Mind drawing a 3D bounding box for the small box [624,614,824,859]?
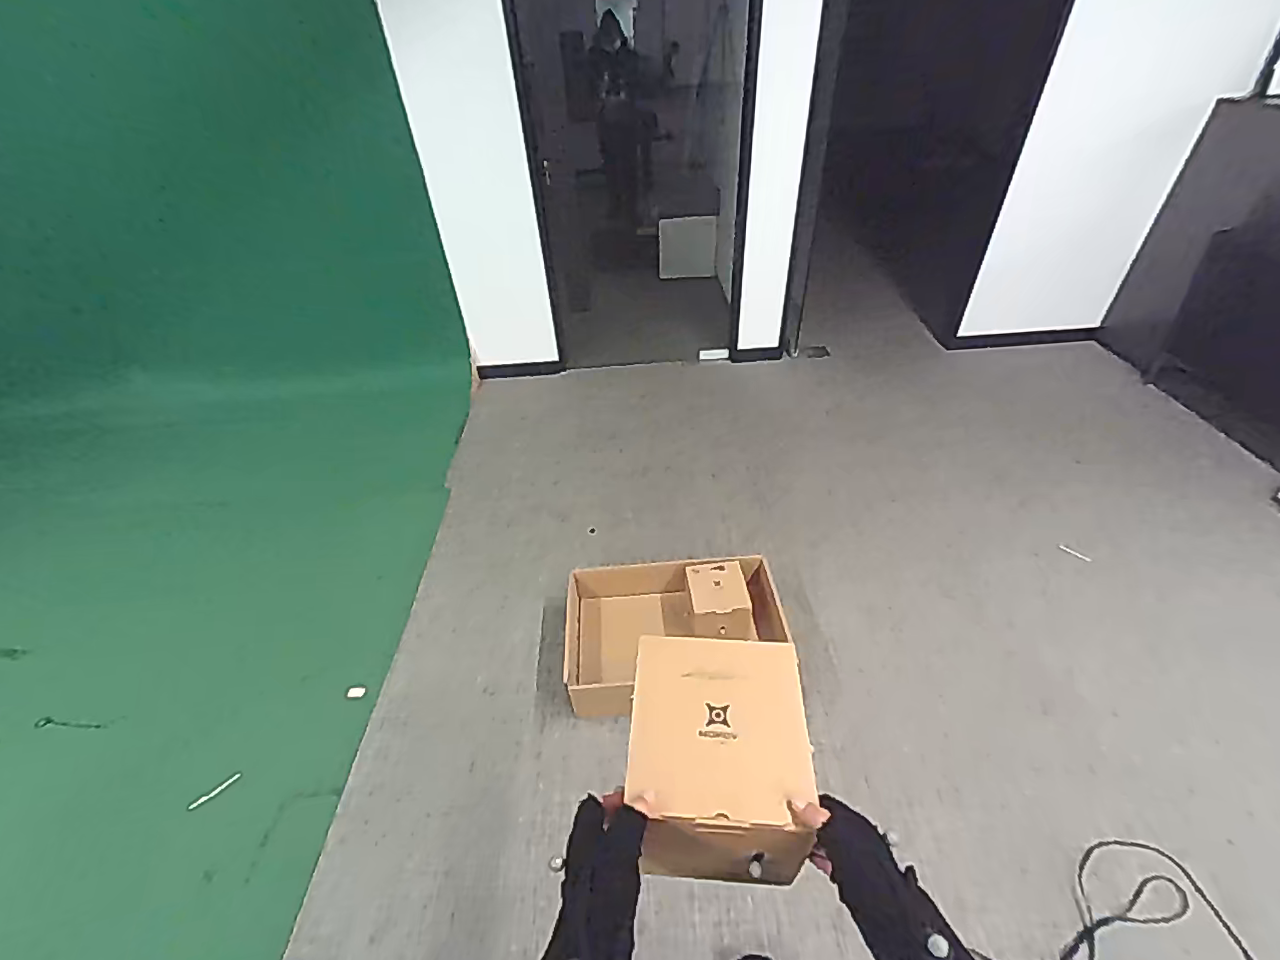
[{"bbox_3d":[0.078,0.262,0.553,0.168,0.176,0.179,2,41,4],"label":"small box"}]

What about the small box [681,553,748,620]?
[{"bbox_3d":[0.222,0.350,1.627,0.168,0.176,0.179,-8,41,-3],"label":"small box"}]
